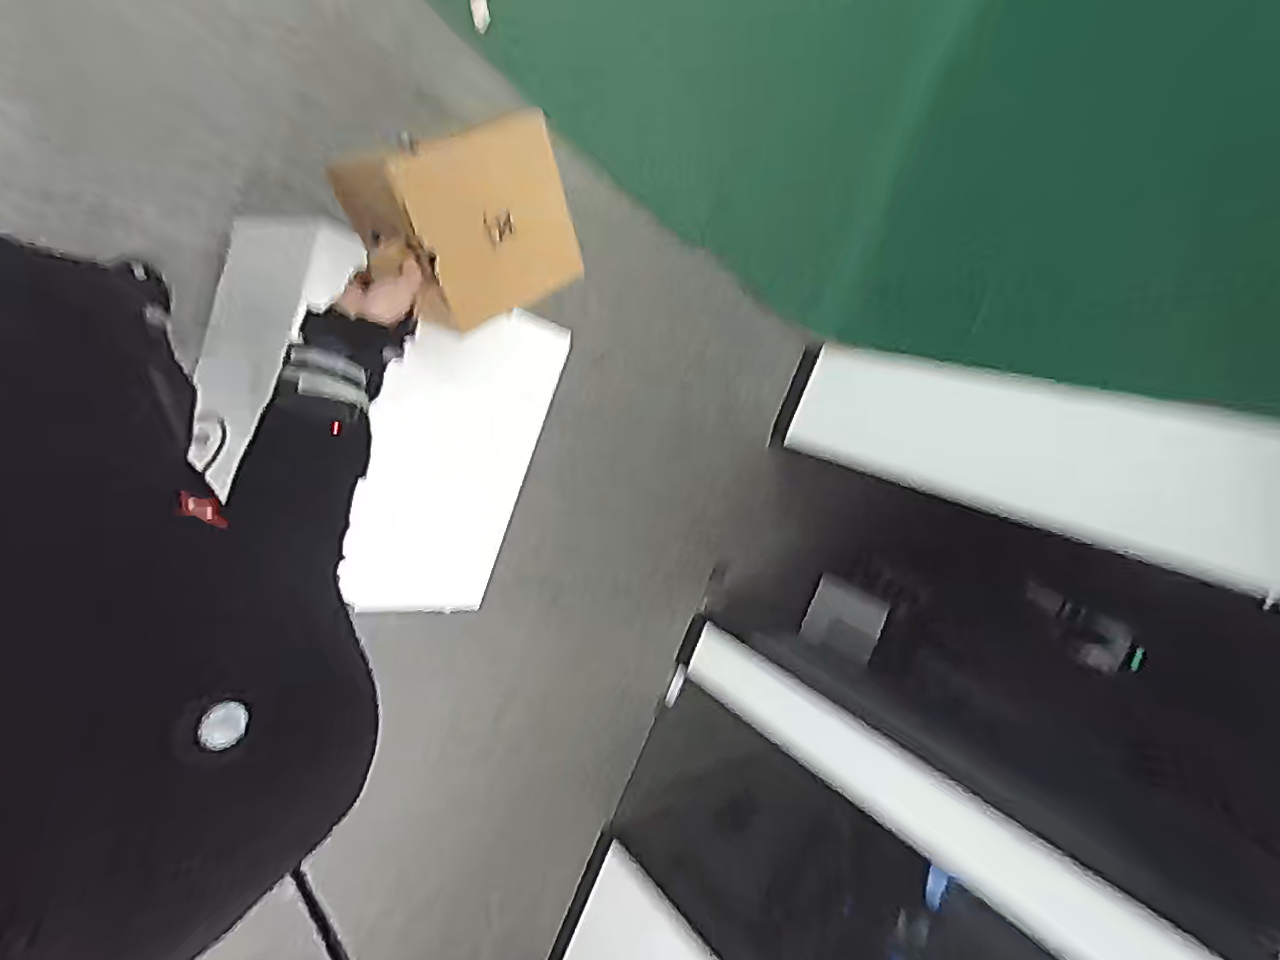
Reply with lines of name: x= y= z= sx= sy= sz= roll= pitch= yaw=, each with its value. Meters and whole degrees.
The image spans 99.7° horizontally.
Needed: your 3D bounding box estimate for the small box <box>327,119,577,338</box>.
small box: x=-0.203 y=-0.285 z=0.601 sx=0.179 sy=0.176 sz=0.168 roll=-39 pitch=136 yaw=-26
